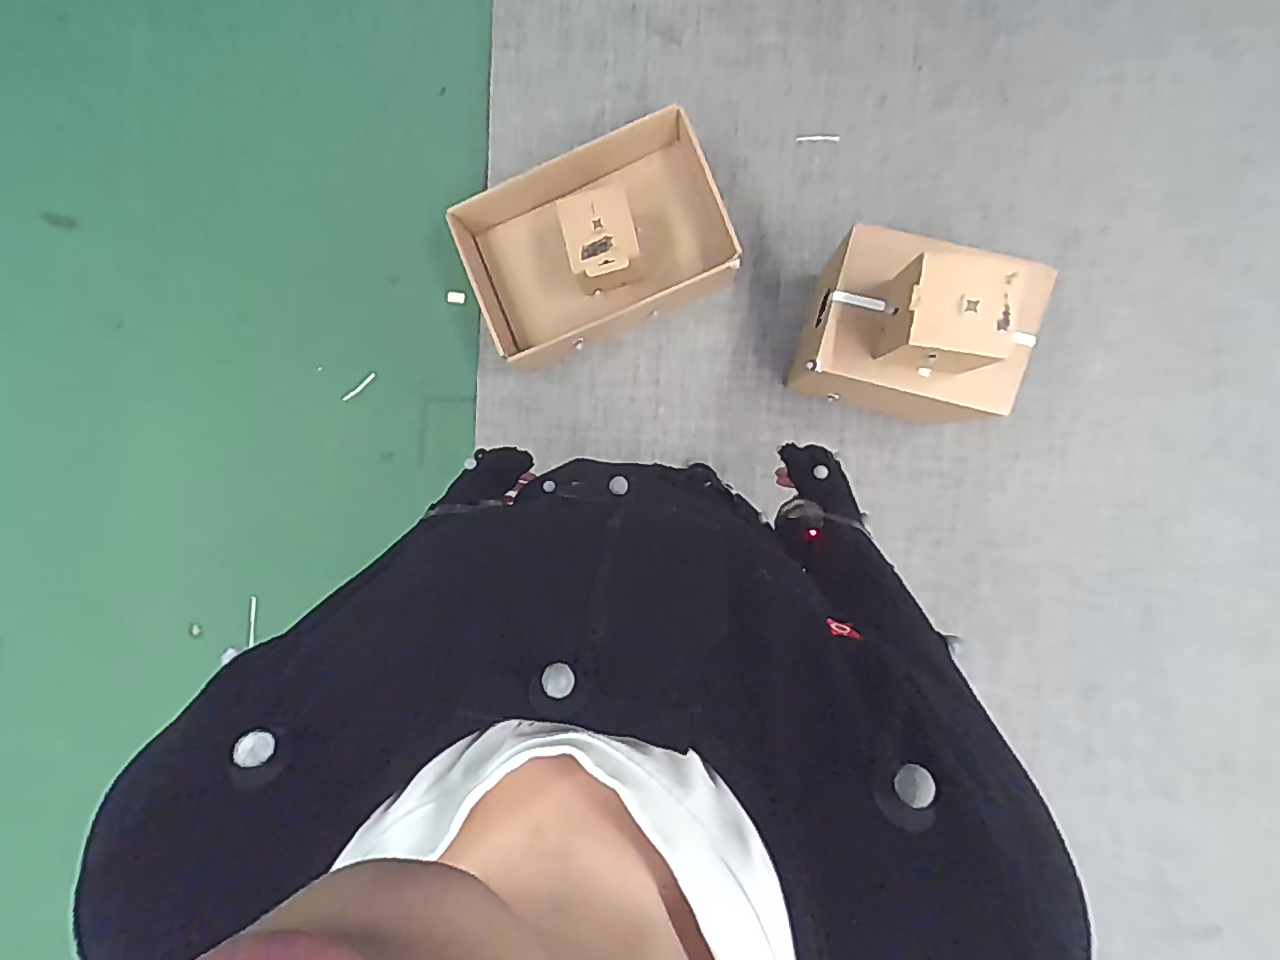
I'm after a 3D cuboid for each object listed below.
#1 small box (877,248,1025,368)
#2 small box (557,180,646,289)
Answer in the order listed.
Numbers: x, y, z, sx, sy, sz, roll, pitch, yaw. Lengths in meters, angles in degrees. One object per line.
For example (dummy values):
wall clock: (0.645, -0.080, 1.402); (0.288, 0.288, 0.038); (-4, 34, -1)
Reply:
small box: (0.565, -0.311, 1.009); (0.179, 0.176, 0.168); (10, 94, 5)
small box: (-0.086, -0.586, 1.323); (0.168, 0.176, 0.179); (-13, 89, 7)
